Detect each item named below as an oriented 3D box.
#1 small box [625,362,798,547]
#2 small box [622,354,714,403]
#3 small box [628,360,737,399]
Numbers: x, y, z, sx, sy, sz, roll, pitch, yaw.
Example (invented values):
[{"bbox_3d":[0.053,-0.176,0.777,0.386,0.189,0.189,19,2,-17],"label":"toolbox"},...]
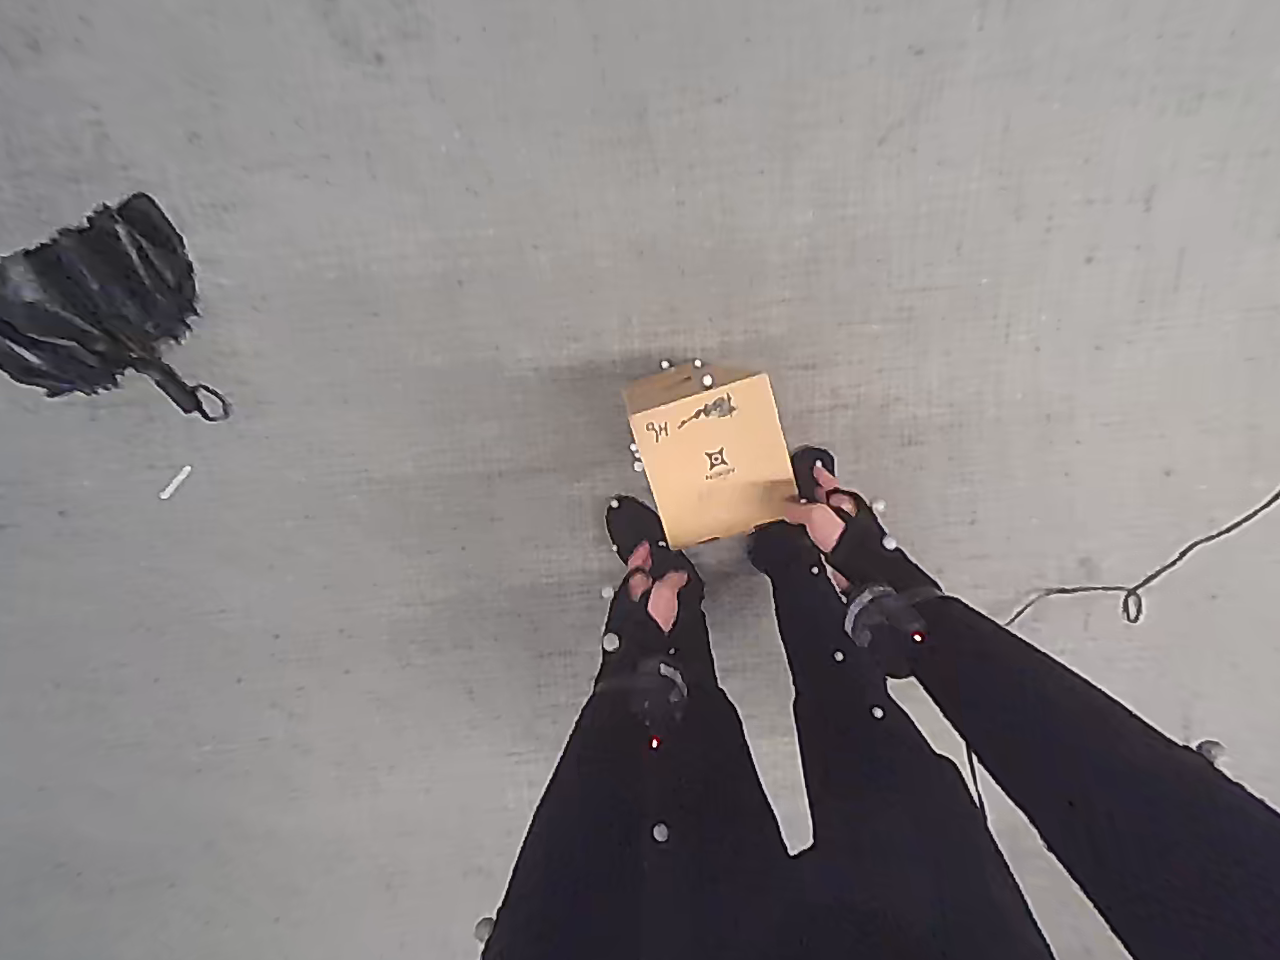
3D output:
[{"bbox_3d":[0.086,-0.042,0.697,0.168,0.176,0.179,-17,105,4],"label":"small box"},{"bbox_3d":[0.073,-0.128,1.013,0.168,0.176,0.179,-19,103,4],"label":"small box"},{"bbox_3d":[0.081,-0.084,0.855,0.168,0.176,0.179,-18,106,4],"label":"small box"}]
